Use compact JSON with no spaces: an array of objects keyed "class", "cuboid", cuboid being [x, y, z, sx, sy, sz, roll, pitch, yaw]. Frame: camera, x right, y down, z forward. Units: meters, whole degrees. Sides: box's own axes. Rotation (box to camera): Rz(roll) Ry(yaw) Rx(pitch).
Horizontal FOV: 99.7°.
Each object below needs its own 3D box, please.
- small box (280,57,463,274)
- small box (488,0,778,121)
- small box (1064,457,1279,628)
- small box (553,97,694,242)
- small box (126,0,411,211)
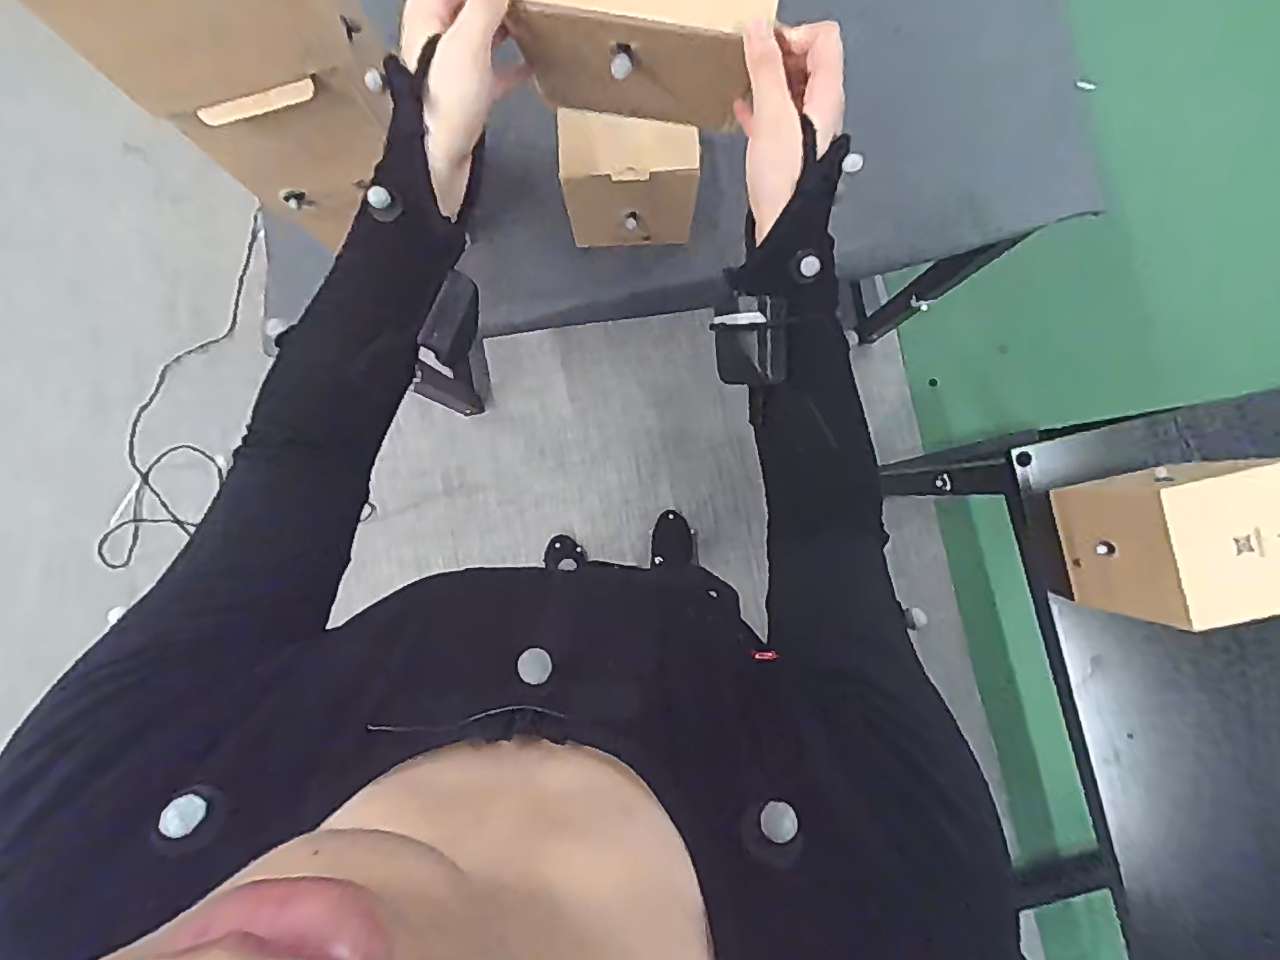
[{"class":"small box","cuboid":[-0.349,-0.399,0.714,0.179,0.176,0.168,-13,86,1]},{"class":"small box","cuboid":[0.008,-0.376,0.379,0.179,0.176,0.168,8,108,1]},{"class":"small box","cuboid":[0.684,0.072,0.683,0.179,0.176,0.168,-13,89,0]},{"class":"small box","cuboid":[-0.018,-0.430,0.710,0.168,0.176,0.179,-3,87,1]},{"class":"small box","cuboid":[-0.360,-0.405,0.550,0.168,0.176,0.179,-17,85,-1]}]
